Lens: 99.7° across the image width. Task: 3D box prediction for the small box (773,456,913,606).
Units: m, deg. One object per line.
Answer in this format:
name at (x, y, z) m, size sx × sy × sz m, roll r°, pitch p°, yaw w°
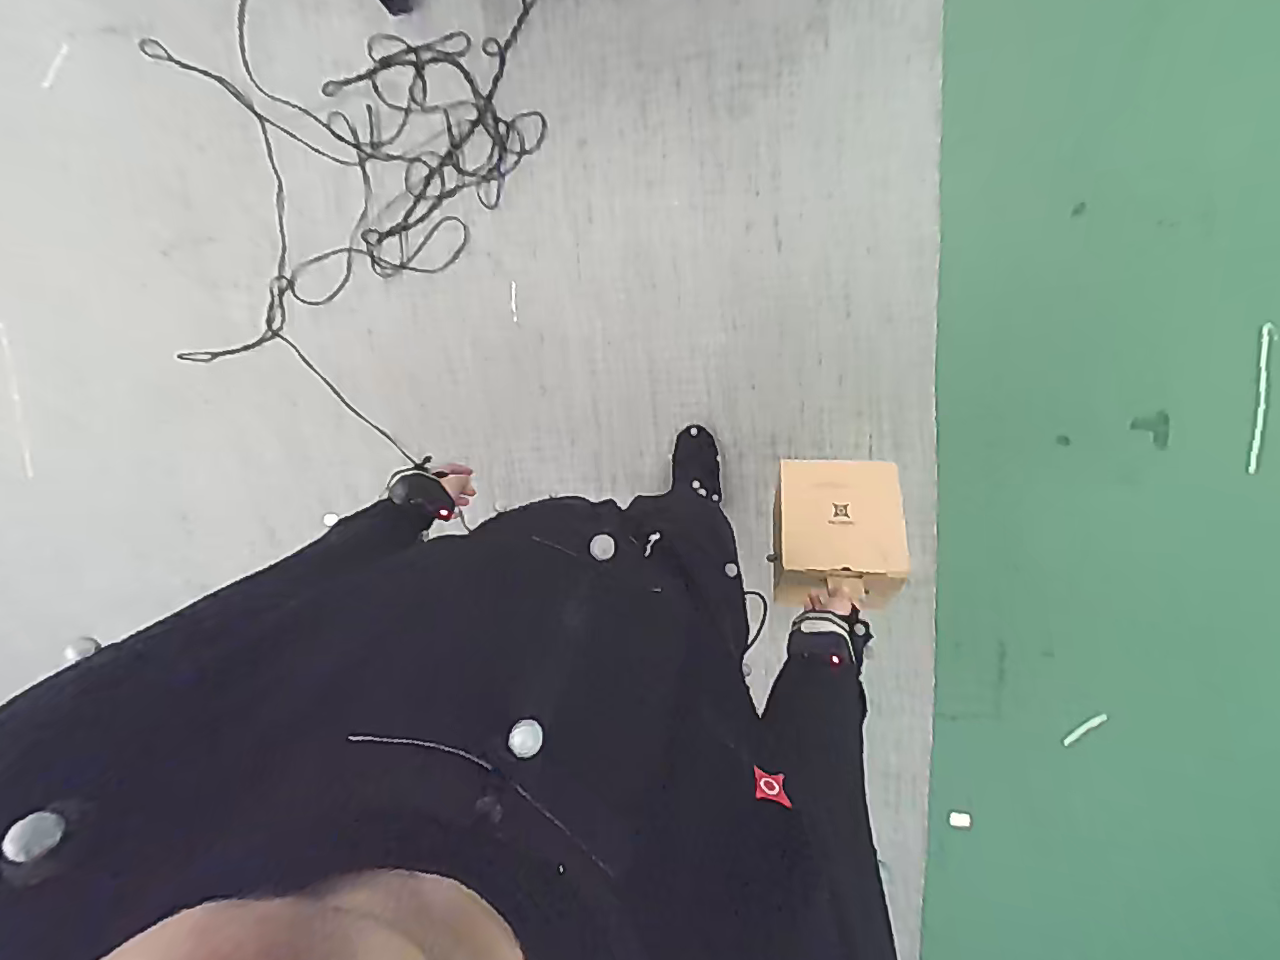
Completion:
small box at (0.293, 0.082, 0.814) m, size 0.168 × 0.176 × 0.179 m, roll 2°, pitch 60°, yaw 10°
